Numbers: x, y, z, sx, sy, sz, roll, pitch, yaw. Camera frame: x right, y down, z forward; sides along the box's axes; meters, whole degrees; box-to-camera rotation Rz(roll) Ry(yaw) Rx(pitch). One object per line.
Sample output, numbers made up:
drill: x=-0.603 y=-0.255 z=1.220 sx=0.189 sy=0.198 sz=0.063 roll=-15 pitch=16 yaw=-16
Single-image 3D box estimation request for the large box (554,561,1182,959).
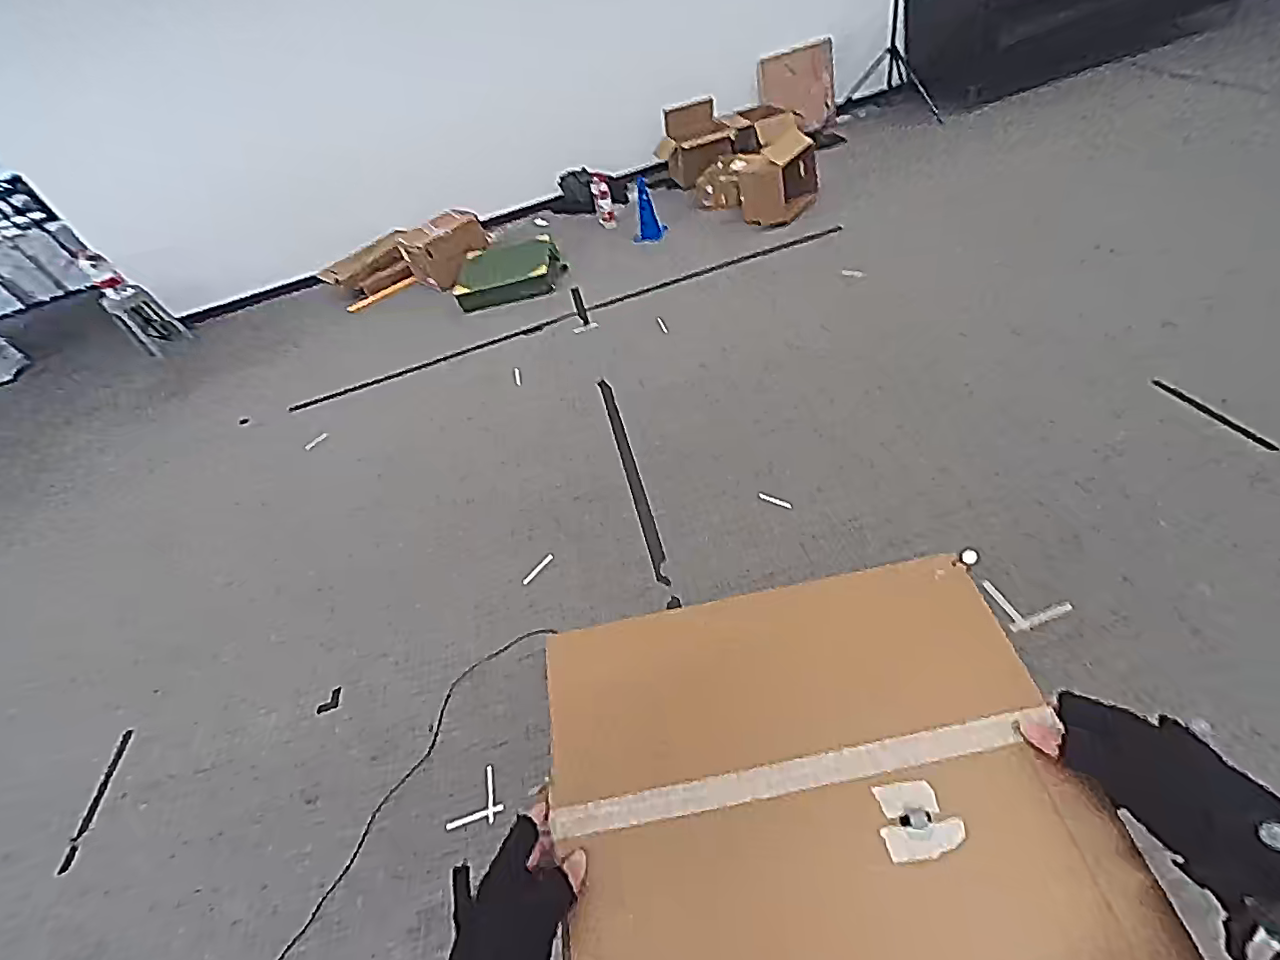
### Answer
large box: x=0.152 y=0.329 z=0.555 sx=0.408 sy=0.320 sz=0.320 roll=-12 pitch=53 yaw=0
